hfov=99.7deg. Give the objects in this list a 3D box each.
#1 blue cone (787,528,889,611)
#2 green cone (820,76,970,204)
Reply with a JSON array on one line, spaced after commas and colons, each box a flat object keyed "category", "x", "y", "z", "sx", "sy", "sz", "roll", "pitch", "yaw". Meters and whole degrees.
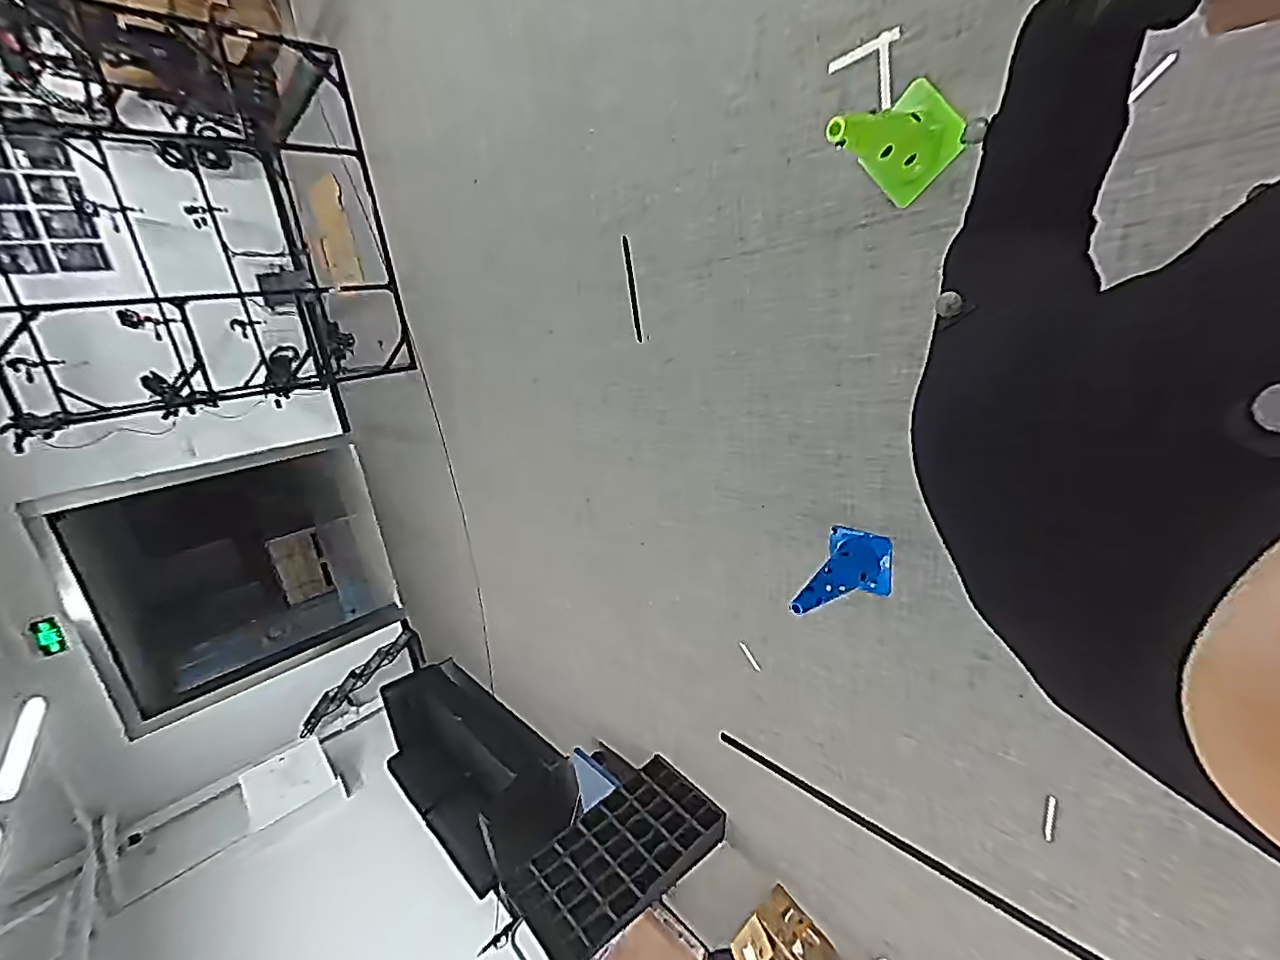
[{"category": "blue cone", "x": 0.569, "y": 0.298, "z": 1.606, "sx": 0.192, "sy": 0.380, "sz": 0.193, "roll": 15, "pitch": 118, "yaw": 47}, {"category": "green cone", "x": 0.506, "y": -0.742, "z": 1.166, "sx": 0.200, "sy": 0.368, "sz": 0.202, "roll": 59, "pitch": 143, "yaw": 13}]
